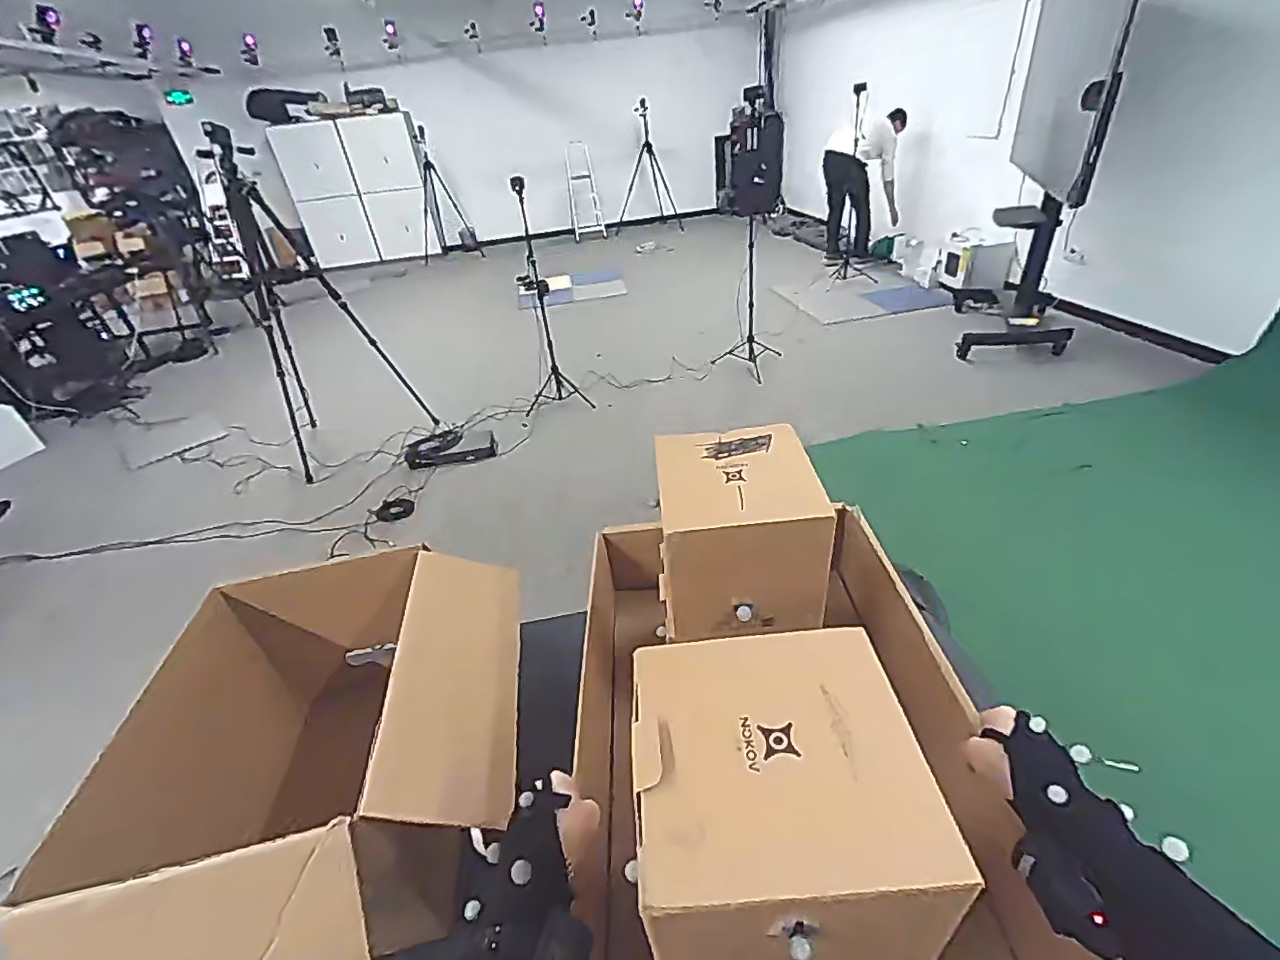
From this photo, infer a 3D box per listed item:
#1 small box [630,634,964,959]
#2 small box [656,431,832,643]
[{"bbox_3d":[0.090,0.237,0.391,0.179,0.176,0.168,-5,35,1],"label":"small box"},{"bbox_3d":[0.107,0.063,0.628,0.168,0.176,0.179,-6,37,3],"label":"small box"}]
